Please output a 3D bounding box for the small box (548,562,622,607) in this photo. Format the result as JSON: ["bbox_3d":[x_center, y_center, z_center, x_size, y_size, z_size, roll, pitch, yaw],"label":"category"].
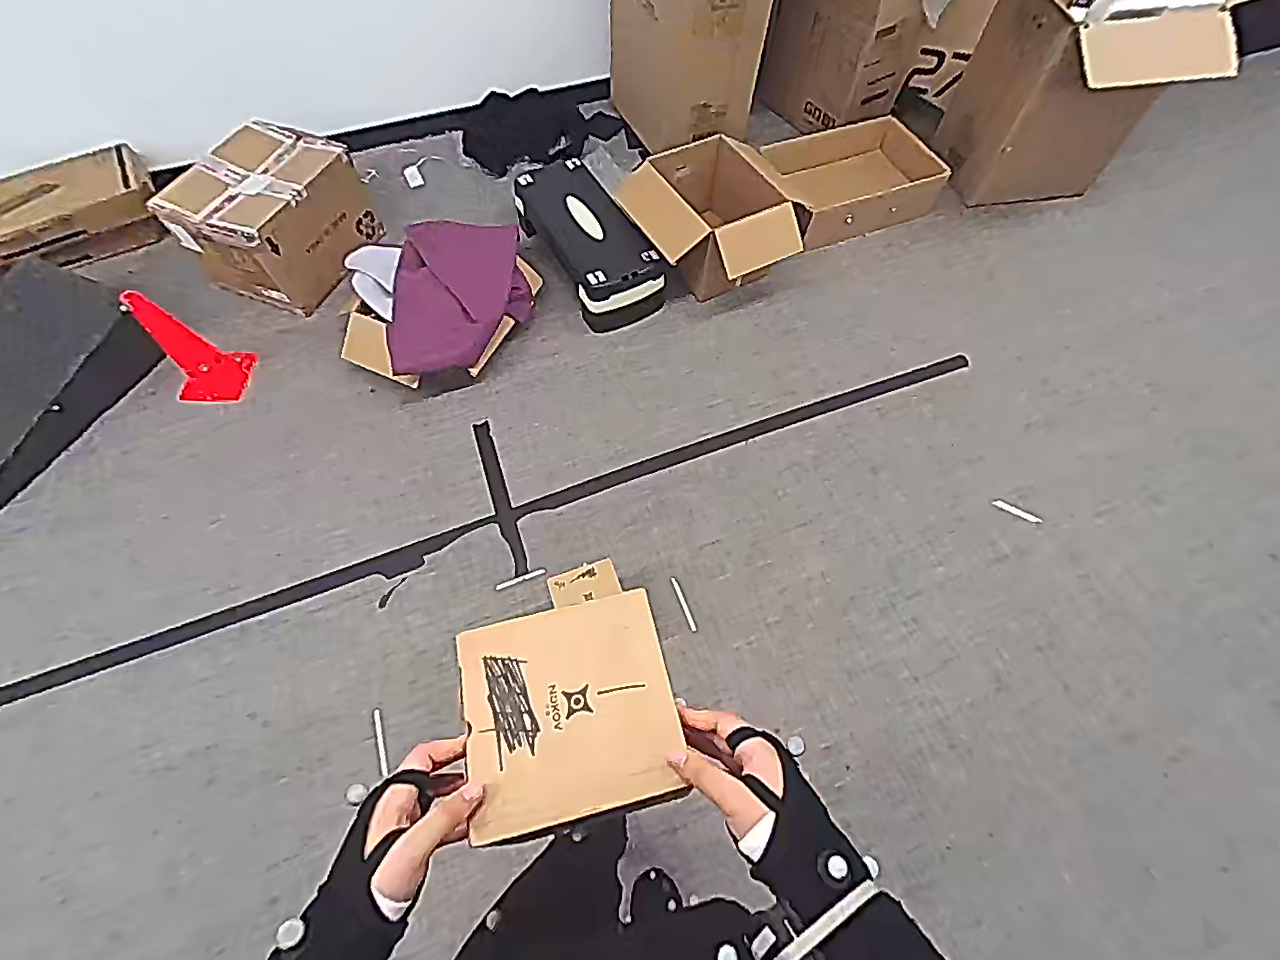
[{"bbox_3d":[-0.117,0.330,1.345,0.168,0.176,0.179,-17,65,-9],"label":"small box"}]

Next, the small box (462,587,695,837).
[{"bbox_3d":[-0.054,0.225,0.515,0.179,0.176,0.168,-12,58,-6],"label":"small box"}]
